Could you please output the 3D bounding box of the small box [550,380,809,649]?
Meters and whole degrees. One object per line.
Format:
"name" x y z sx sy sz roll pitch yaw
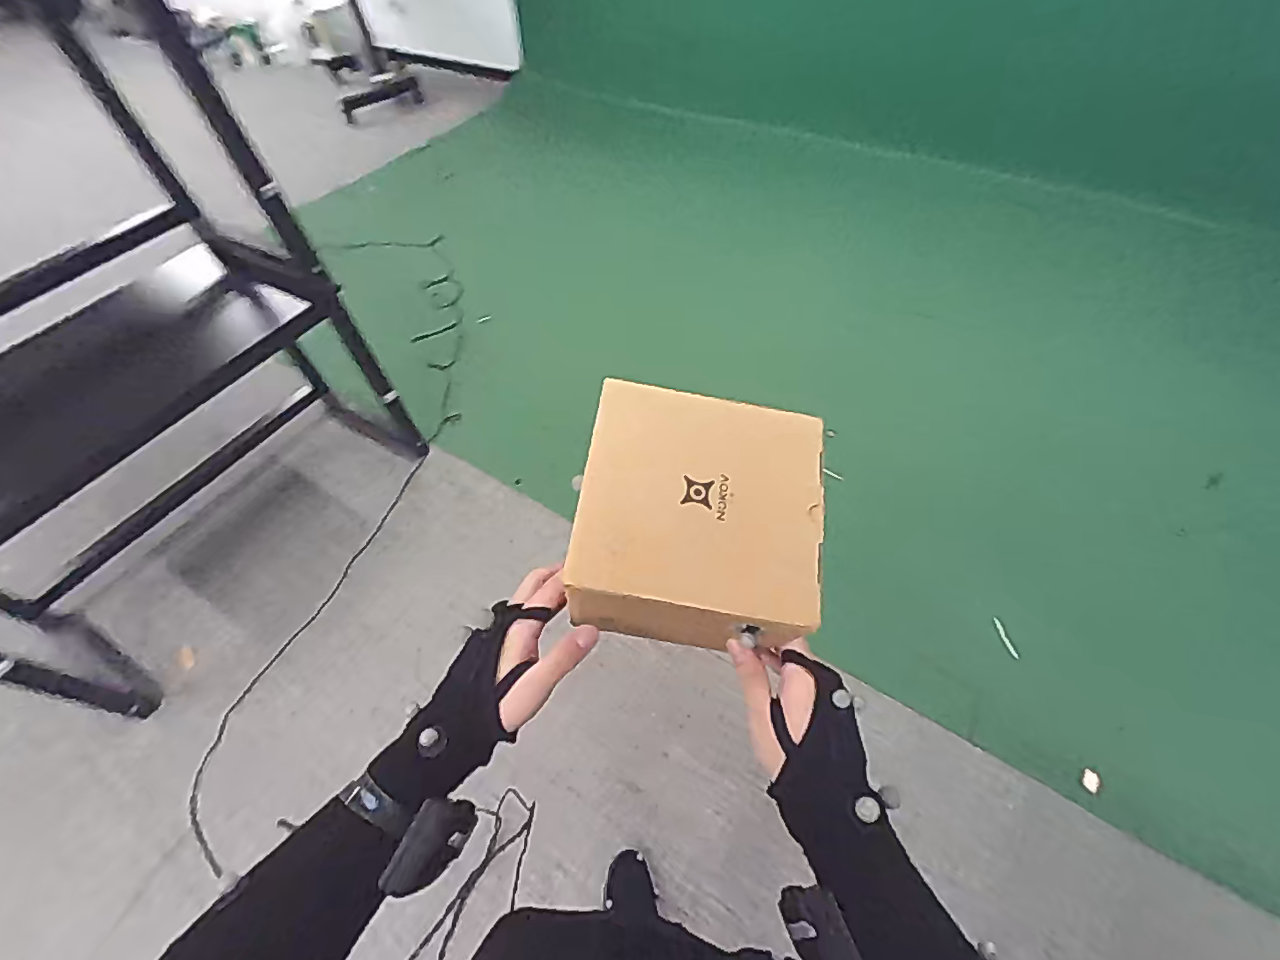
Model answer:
"small box" 0.028 0.042 0.462 0.179 0.176 0.168 10 65 -3
